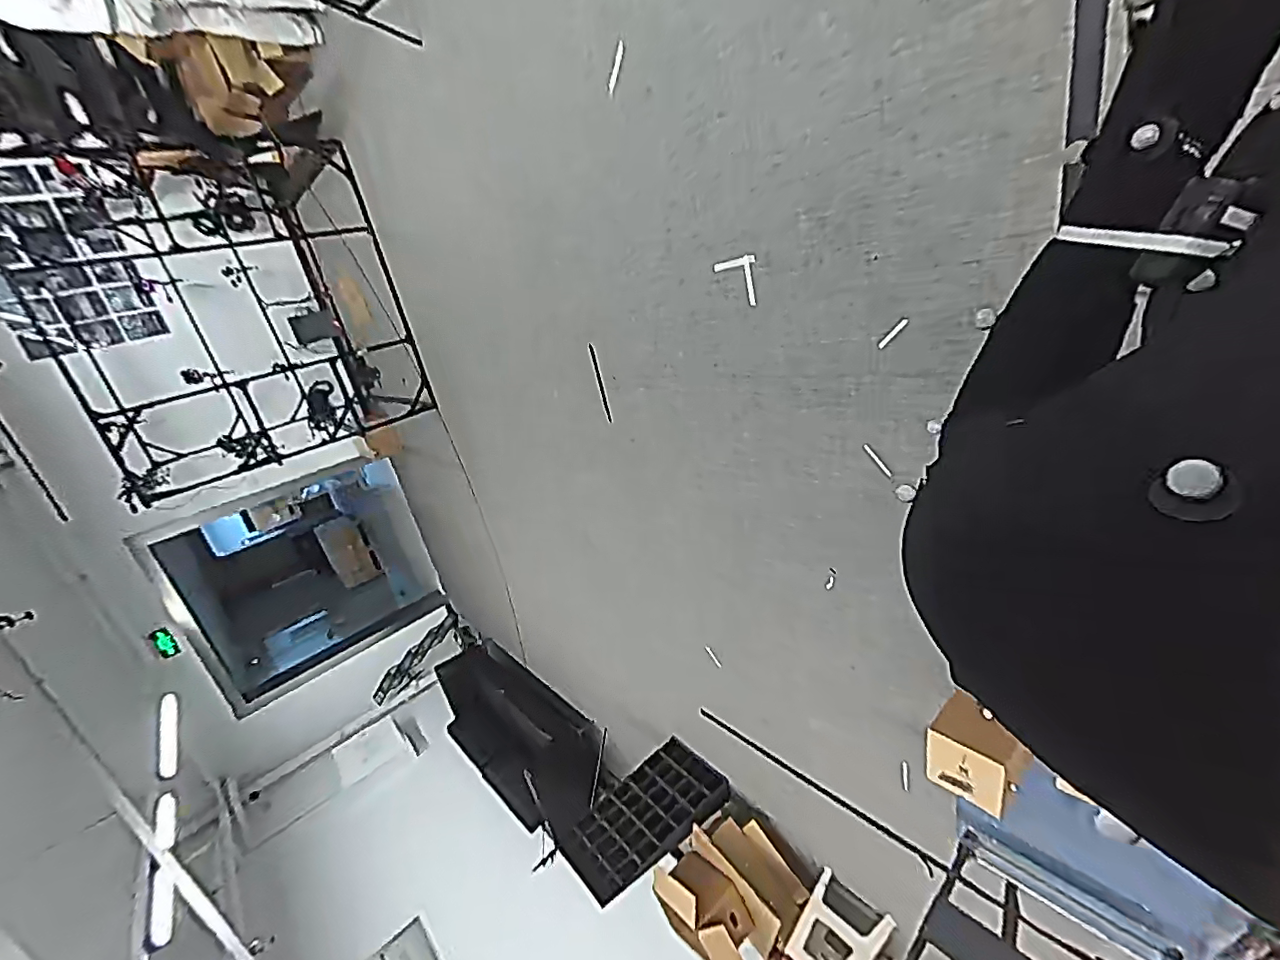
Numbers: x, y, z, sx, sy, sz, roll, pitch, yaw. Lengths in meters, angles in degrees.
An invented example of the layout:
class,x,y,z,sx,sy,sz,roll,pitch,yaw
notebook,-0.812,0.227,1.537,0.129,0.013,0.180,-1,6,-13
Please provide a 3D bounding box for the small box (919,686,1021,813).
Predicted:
class,x,y,z,sx,sy,sz,roll,pitch,yaw
small box,0.804,0.648,1.319,0.168,0.176,0.179,16,125,47
